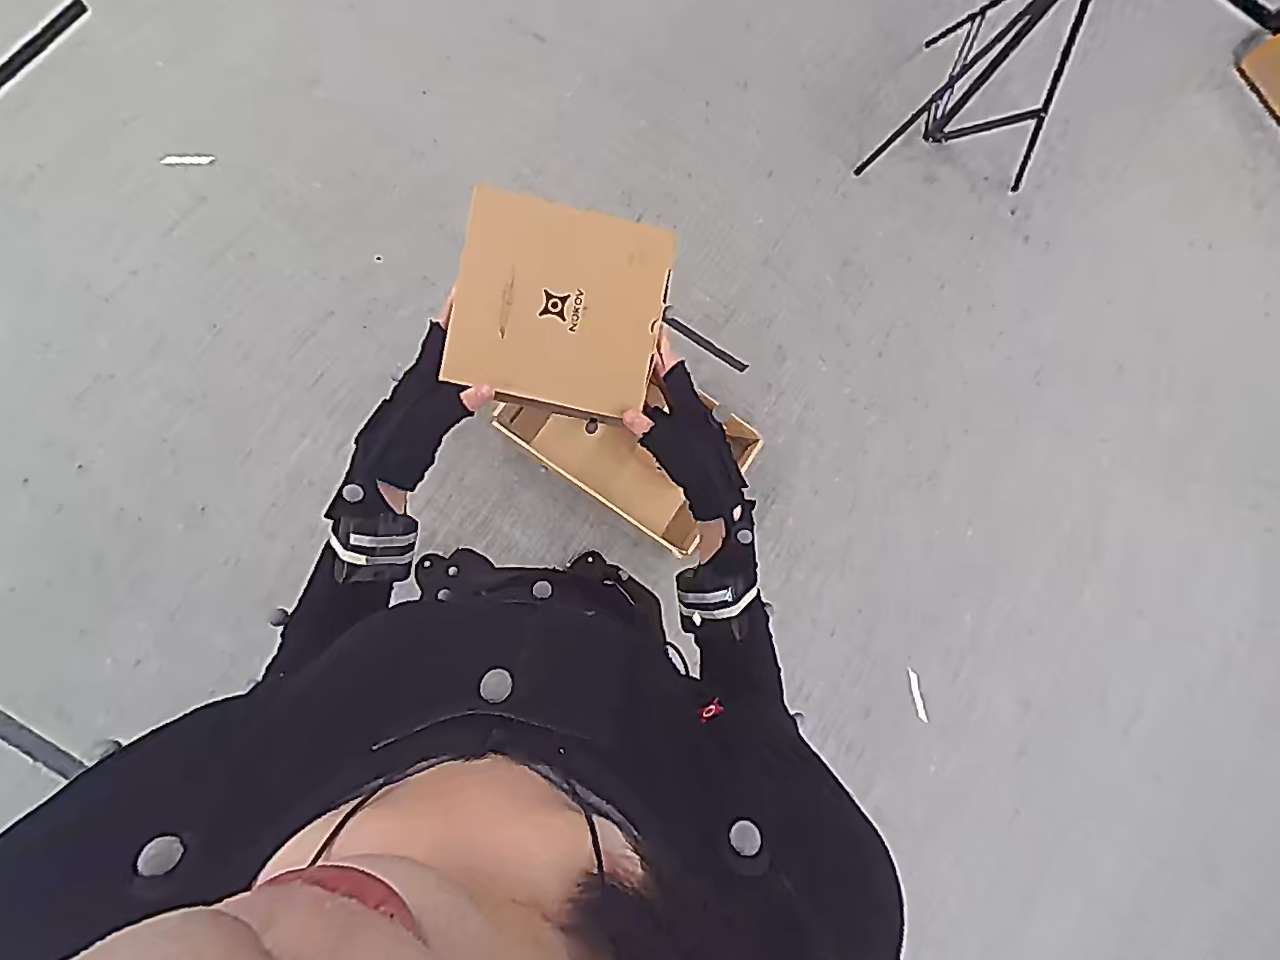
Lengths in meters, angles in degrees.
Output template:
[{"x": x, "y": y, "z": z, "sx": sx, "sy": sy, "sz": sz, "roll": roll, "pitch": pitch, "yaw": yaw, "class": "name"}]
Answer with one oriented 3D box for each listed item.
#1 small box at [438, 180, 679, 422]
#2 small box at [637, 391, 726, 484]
[{"x": -0.071, "y": -0.152, "z": 0.526, "sx": 0.179, "sy": 0.176, "sz": 0.168, "roll": 10, "pitch": 91, "yaw": -3, "class": "small box"}, {"x": 0.104, "y": -0.106, "z": 1.465, "sx": 0.168, "sy": 0.176, "sz": 0.179, "roll": 36, "pitch": 81, "yaw": -1, "class": "small box"}]
